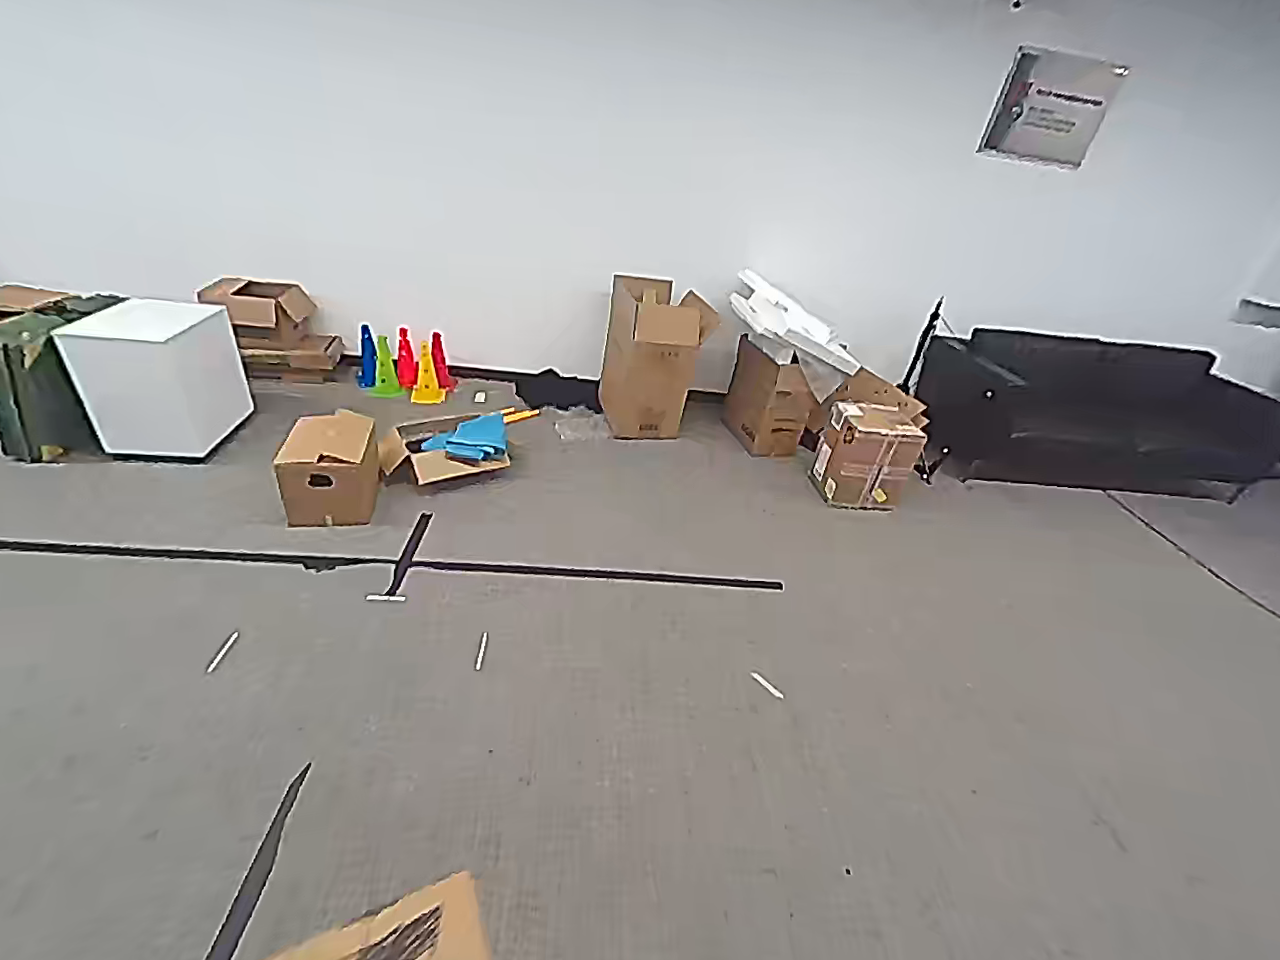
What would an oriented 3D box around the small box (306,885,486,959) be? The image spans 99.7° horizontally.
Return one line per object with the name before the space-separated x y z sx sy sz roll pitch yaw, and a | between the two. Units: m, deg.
small box | -0.186 0.475 0.404 0.168 0.176 0.179 -11 18 -28
